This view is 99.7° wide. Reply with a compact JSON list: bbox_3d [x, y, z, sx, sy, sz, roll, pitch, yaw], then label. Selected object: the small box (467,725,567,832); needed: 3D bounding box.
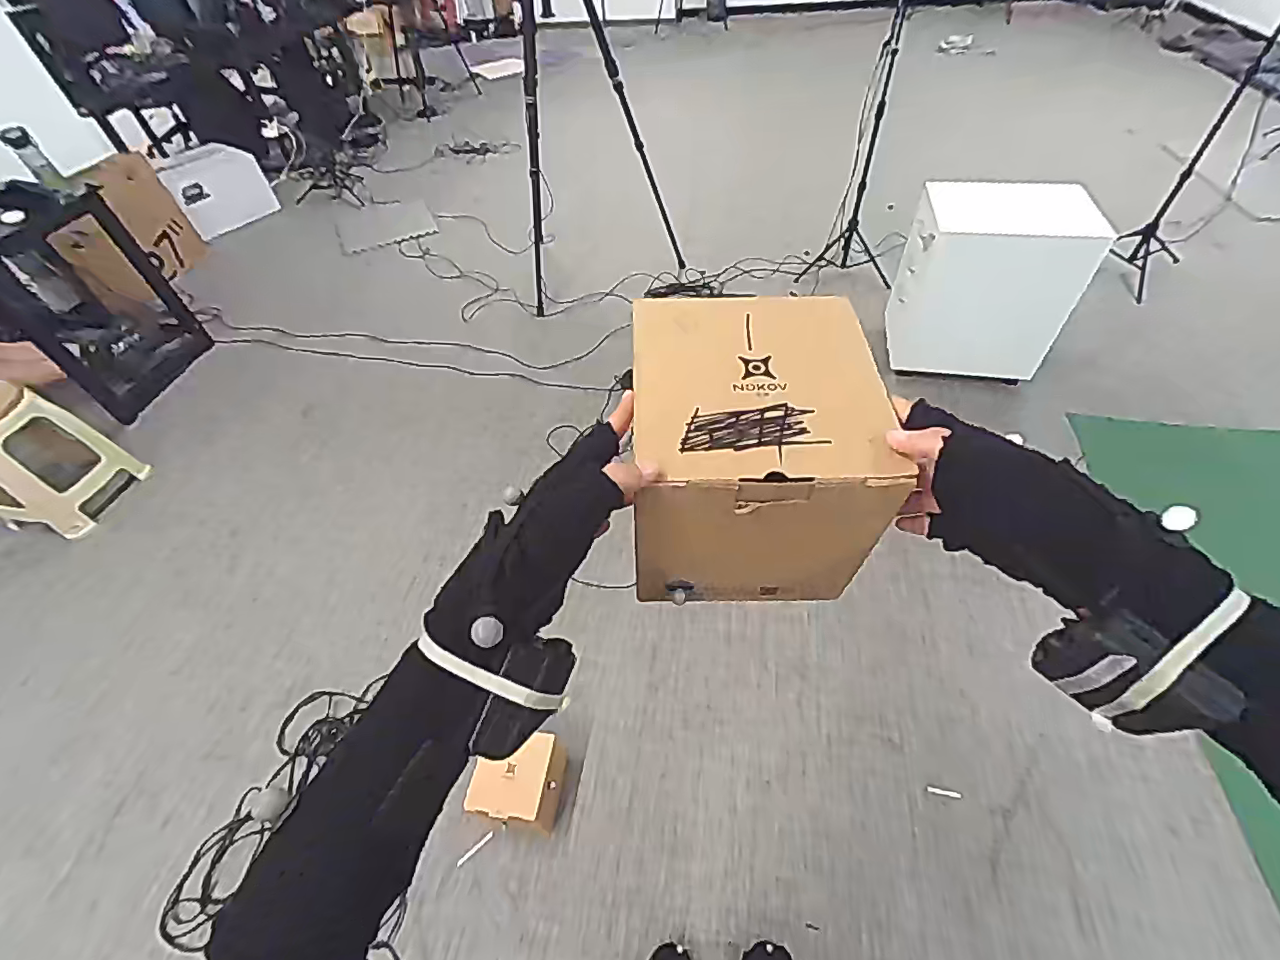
[{"bbox_3d":[-0.276,0.698,1.264,0.168,0.176,0.179,4,51,9],"label":"small box"}]
